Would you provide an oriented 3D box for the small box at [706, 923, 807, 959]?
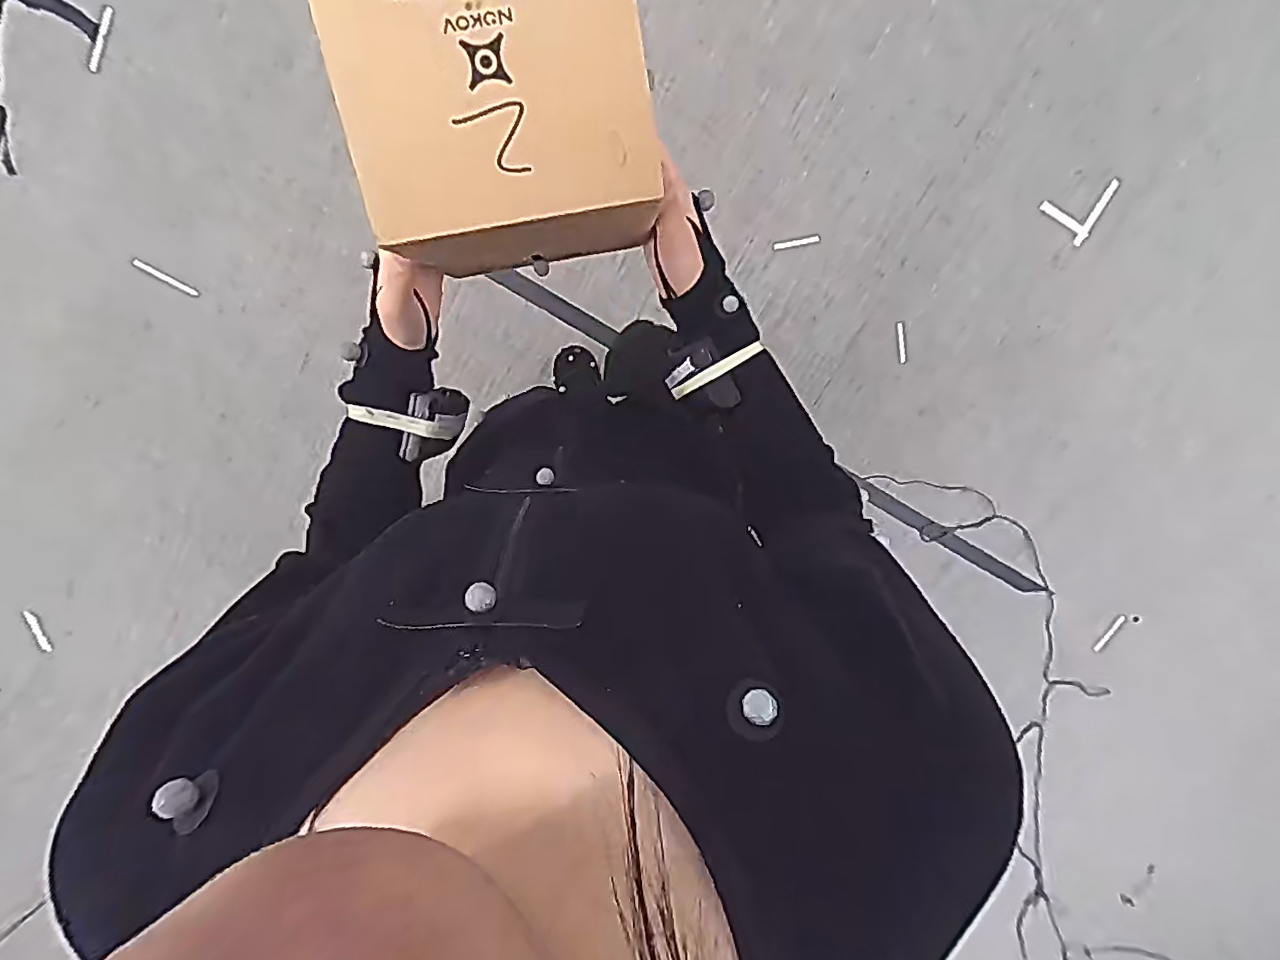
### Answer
[{"bbox_3d":[0.211,0.936,0.950,0.168,0.176,0.179,24,103,-10],"label":"small box"}]

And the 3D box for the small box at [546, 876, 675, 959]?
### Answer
[{"bbox_3d":[-0.049,0.807,0.896,0.179,0.176,0.168,25,102,-9],"label":"small box"}]
